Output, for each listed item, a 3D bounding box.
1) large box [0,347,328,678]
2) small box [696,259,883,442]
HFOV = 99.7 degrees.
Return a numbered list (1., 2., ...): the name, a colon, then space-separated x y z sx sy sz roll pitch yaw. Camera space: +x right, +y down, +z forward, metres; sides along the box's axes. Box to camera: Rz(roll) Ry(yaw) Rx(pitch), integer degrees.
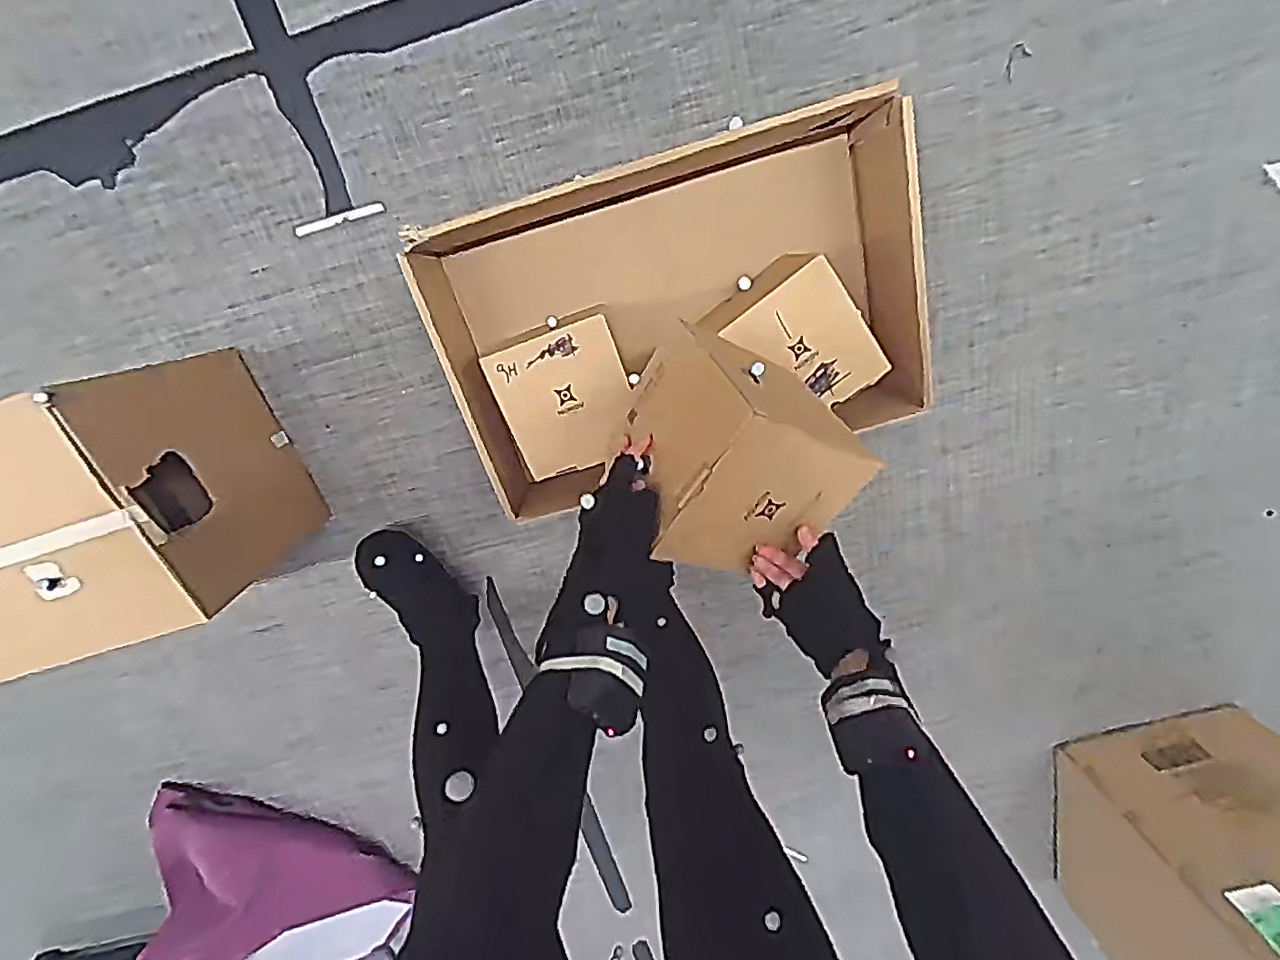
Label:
1. large box: -0.772 0.032 0.779 0.408 0.320 0.320 -17 112 4
2. small box: 0.197 -0.187 0.756 0.168 0.176 0.179 -36 108 12
